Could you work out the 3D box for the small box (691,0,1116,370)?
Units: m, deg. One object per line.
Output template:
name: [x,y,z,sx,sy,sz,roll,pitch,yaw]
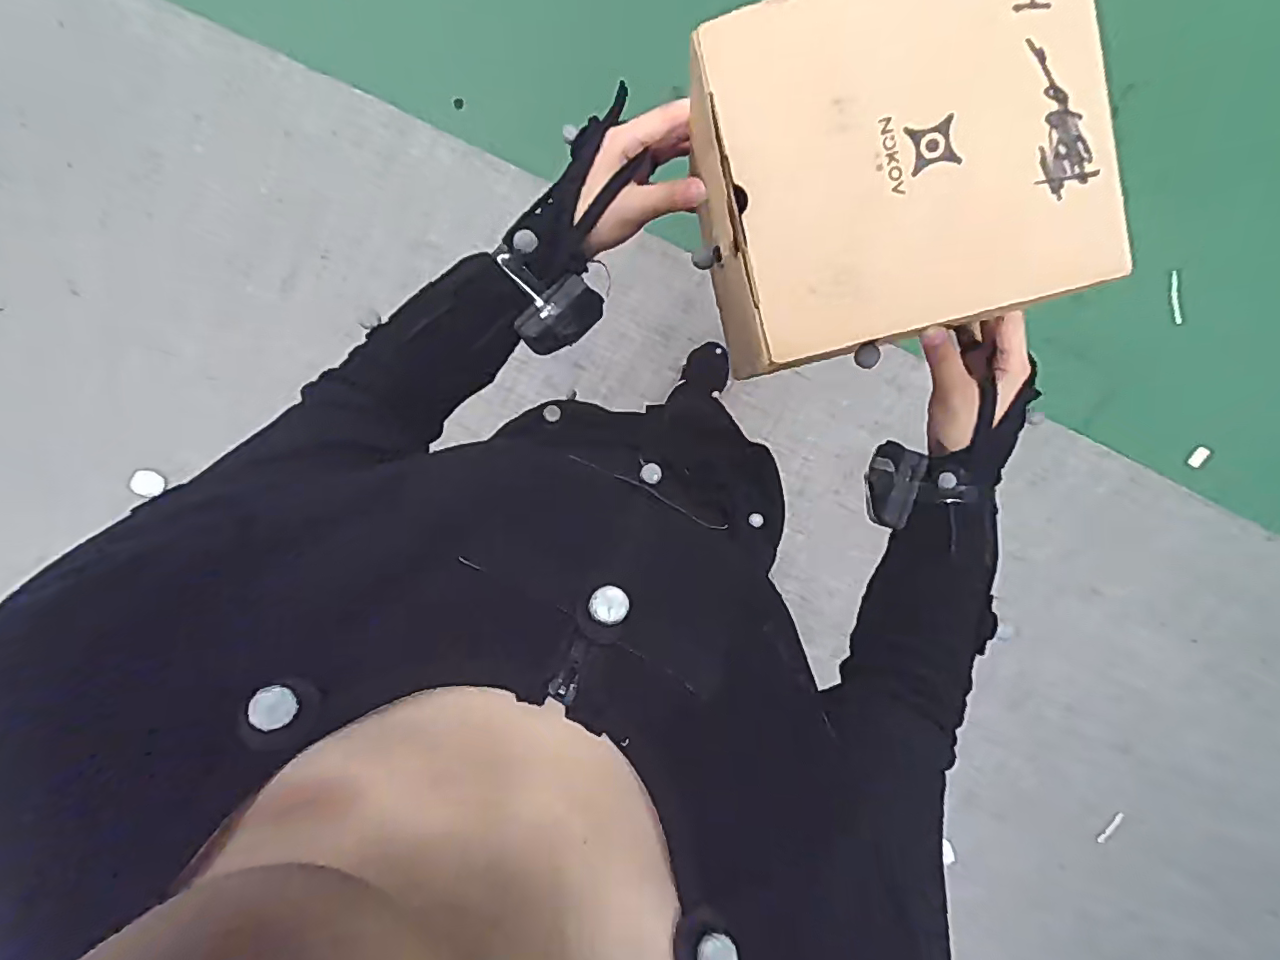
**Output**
small box: [0.135,-0.171,0.340,0.179,0.176,0.168,-13,97,7]
